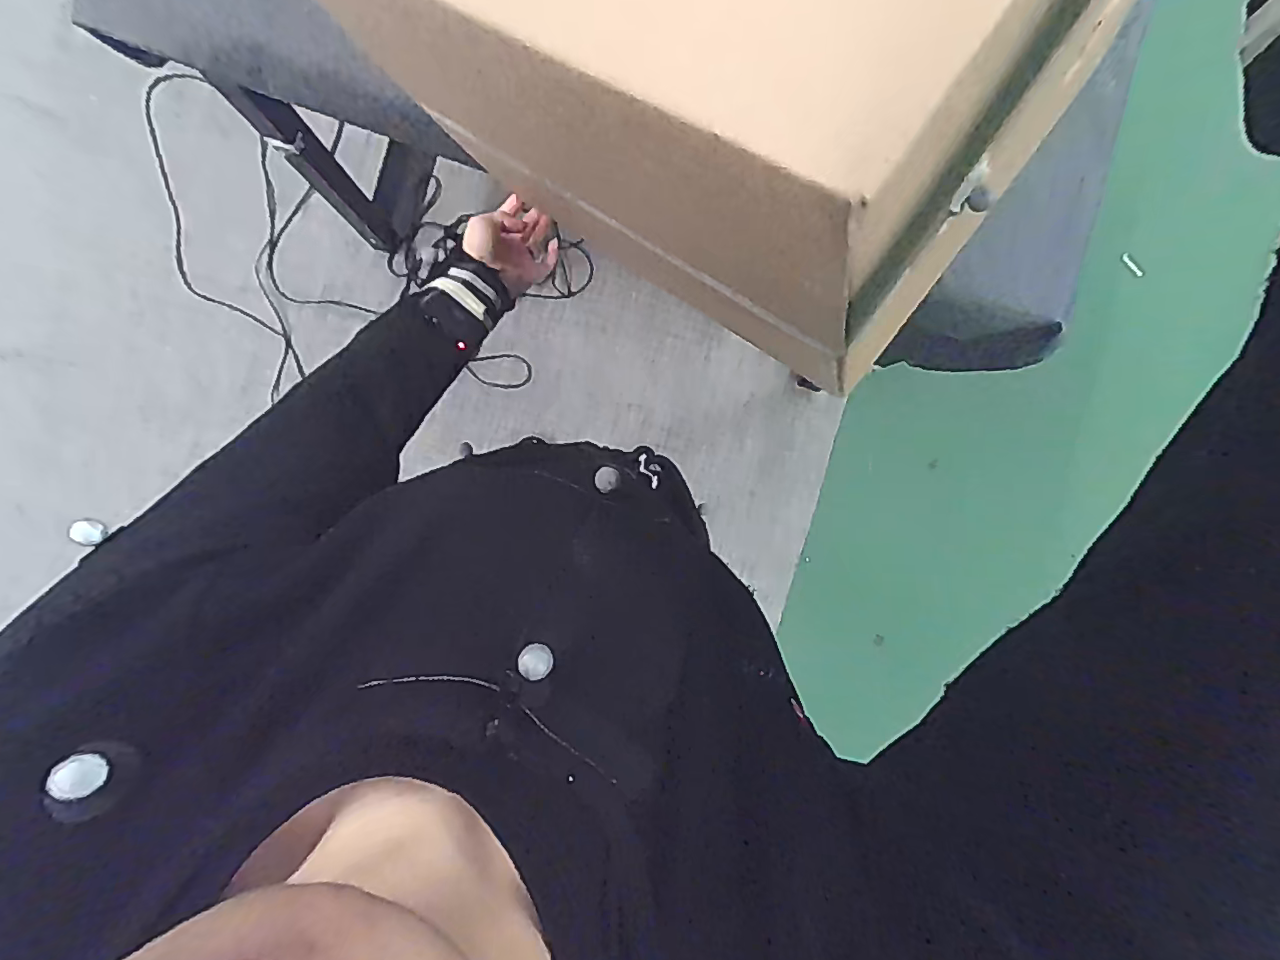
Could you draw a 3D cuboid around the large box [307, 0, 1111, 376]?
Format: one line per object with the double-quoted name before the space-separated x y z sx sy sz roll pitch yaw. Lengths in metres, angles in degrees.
"large box" 0.056 -0.318 0.352 0.408 0.320 0.320 36 99 17
